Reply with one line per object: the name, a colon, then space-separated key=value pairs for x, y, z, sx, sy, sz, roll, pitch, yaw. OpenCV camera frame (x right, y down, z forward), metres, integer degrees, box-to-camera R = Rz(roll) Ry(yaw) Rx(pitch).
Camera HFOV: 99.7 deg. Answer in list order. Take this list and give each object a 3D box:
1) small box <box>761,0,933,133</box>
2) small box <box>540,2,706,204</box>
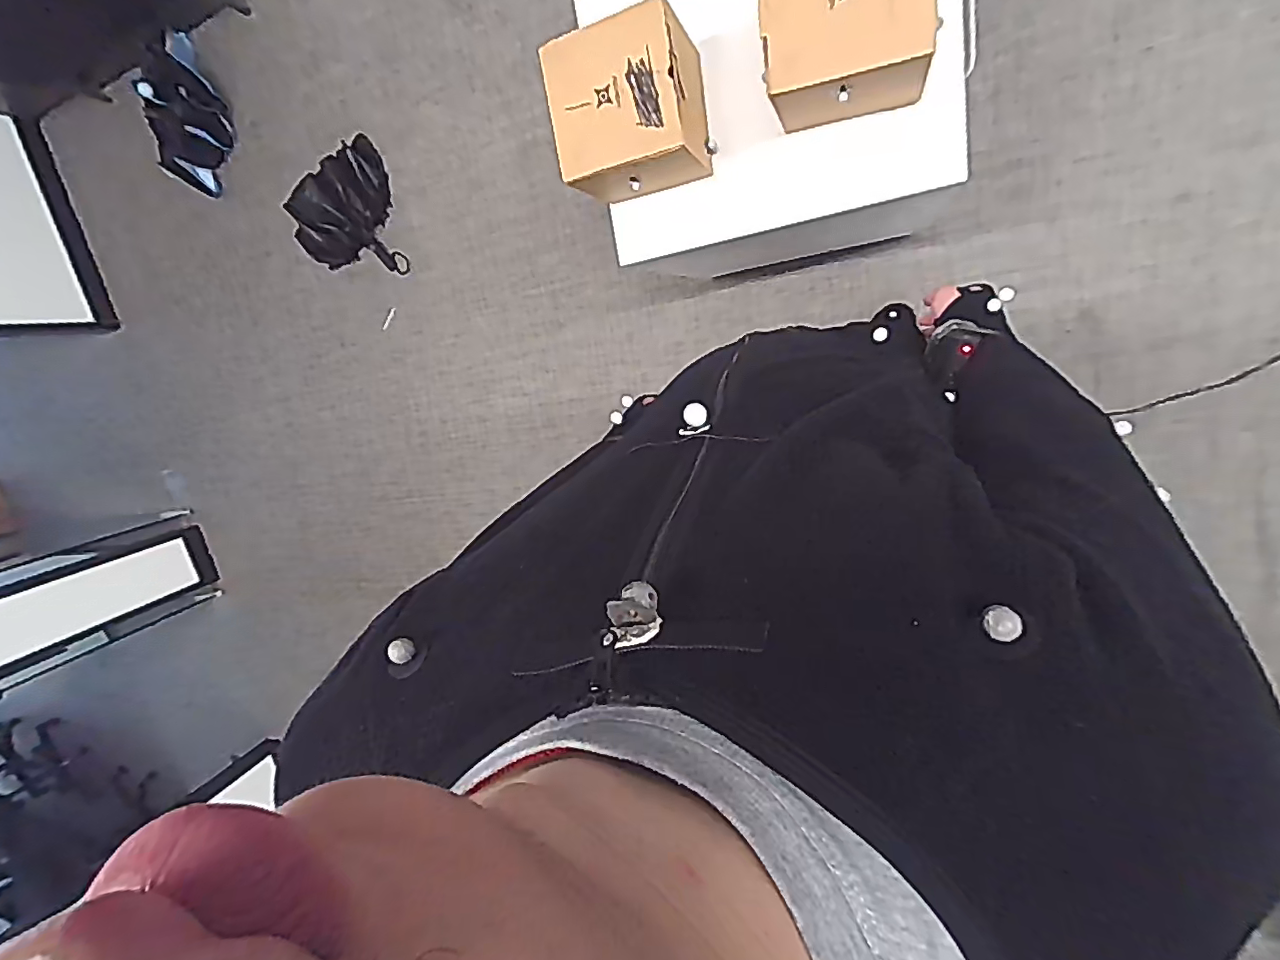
small box: x=0.246 y=-0.543 z=0.647 sx=0.179 sy=0.176 sz=0.168 roll=0 pitch=108 yaw=22
small box: x=-0.011 y=-0.507 z=0.759 sx=0.179 sy=0.176 sz=0.168 roll=-4 pitch=105 yaw=23
